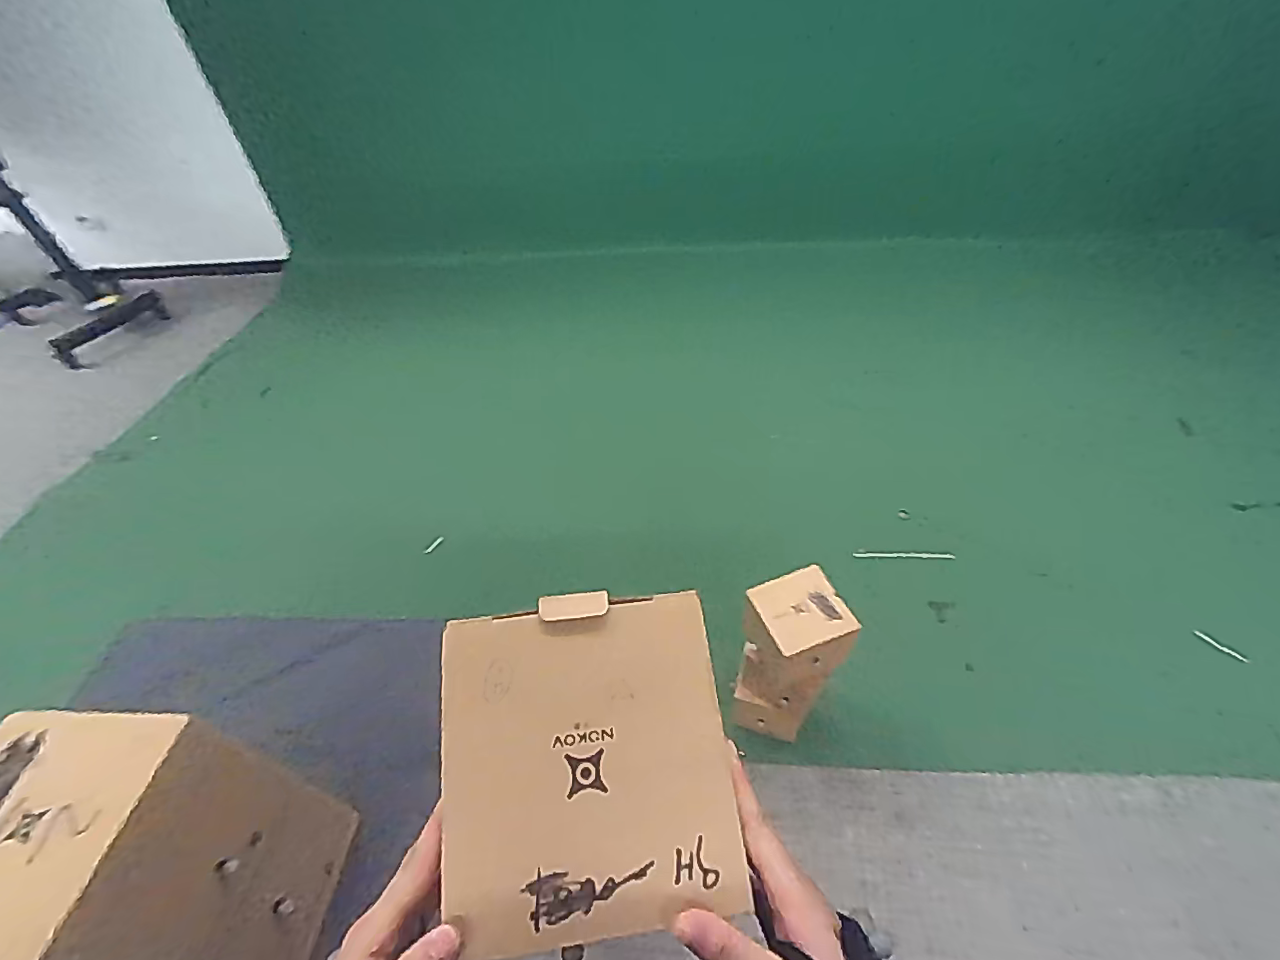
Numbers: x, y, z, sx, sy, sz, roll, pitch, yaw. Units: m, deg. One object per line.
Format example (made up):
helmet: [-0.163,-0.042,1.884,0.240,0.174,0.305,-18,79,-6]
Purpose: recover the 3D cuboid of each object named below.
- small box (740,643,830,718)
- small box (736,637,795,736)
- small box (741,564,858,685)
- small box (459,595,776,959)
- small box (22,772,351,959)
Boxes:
small box: [0.353,0.429,1.290,0.168,0.176,0.179,30,55,27]
small box: [0.331,0.538,1.413,0.168,0.176,0.179,12,48,15]
small box: [0.334,0.315,1.173,0.179,0.176,0.168,-18,48,-11]
small box: [-0.022,0.191,0.381,0.168,0.176,0.179,-5,67,-5]
small box: [-0.447,0.425,0.572,0.179,0.176,0.168,-2,46,5]
